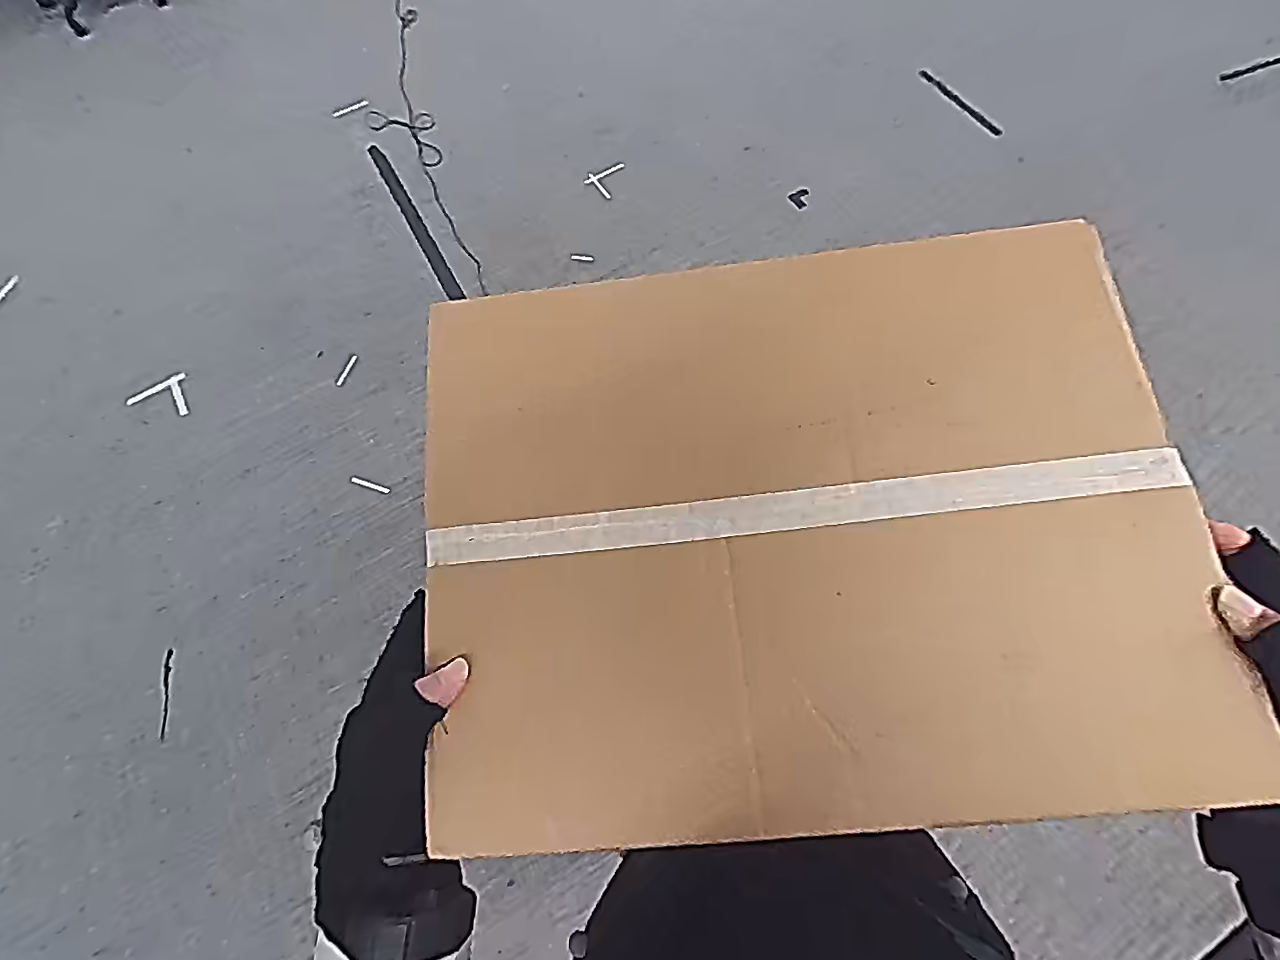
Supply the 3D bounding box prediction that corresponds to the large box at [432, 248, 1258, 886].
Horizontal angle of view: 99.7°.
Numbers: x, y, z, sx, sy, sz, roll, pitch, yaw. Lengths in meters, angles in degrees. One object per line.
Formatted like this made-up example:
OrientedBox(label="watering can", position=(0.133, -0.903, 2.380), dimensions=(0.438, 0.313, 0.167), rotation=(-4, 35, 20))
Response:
OrientedBox(label="large box", position=(0.094, 0.067, 0.444), dimensions=(0.408, 0.320, 0.320), rotation=(-7, 74, 3))
